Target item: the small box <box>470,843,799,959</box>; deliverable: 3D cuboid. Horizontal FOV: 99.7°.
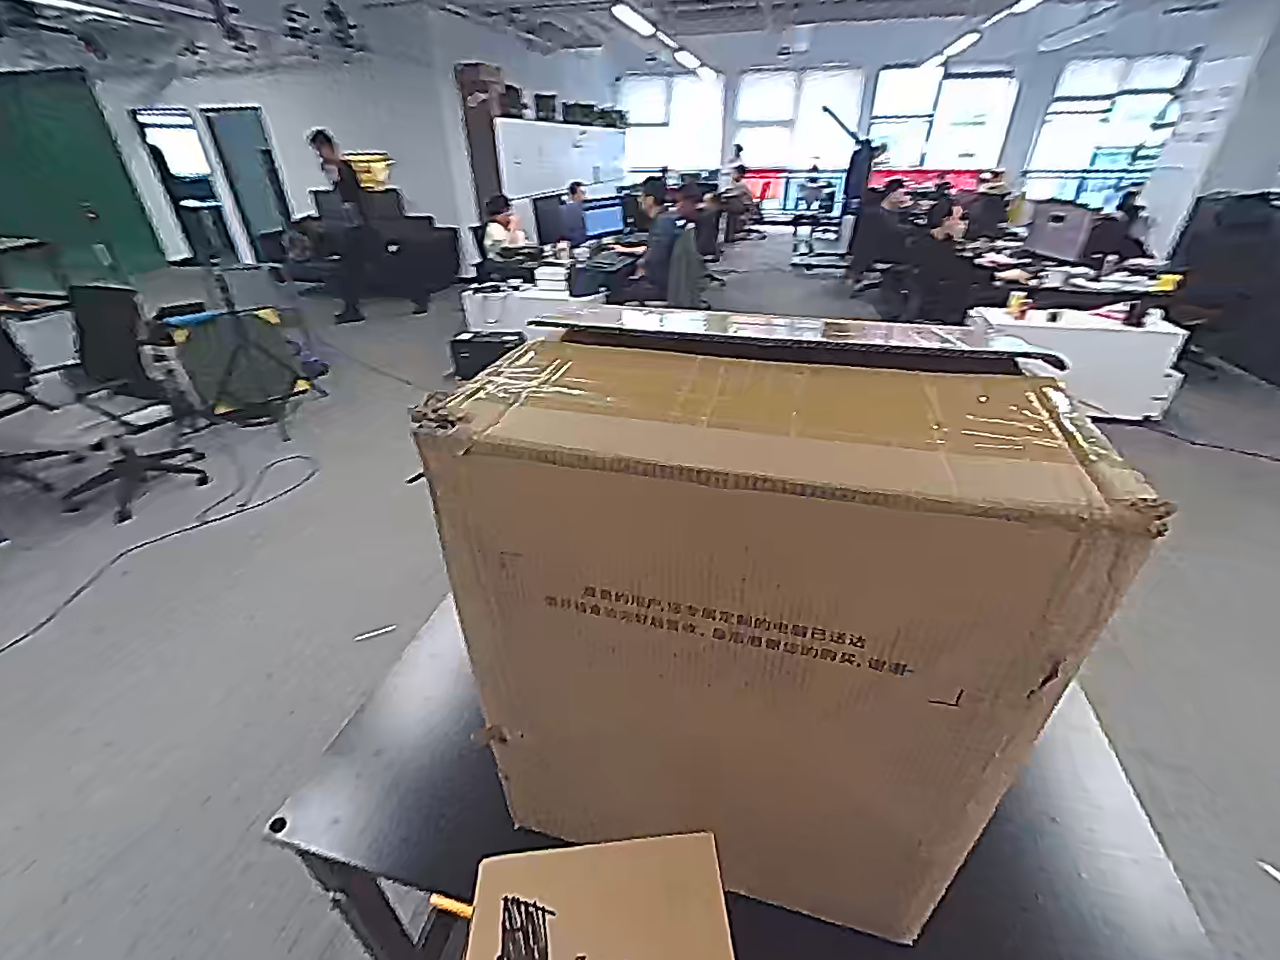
[{"bbox_3d":[0.004,0.336,0.293,0.179,0.176,0.168,-6,30,-1],"label":"small box"}]
